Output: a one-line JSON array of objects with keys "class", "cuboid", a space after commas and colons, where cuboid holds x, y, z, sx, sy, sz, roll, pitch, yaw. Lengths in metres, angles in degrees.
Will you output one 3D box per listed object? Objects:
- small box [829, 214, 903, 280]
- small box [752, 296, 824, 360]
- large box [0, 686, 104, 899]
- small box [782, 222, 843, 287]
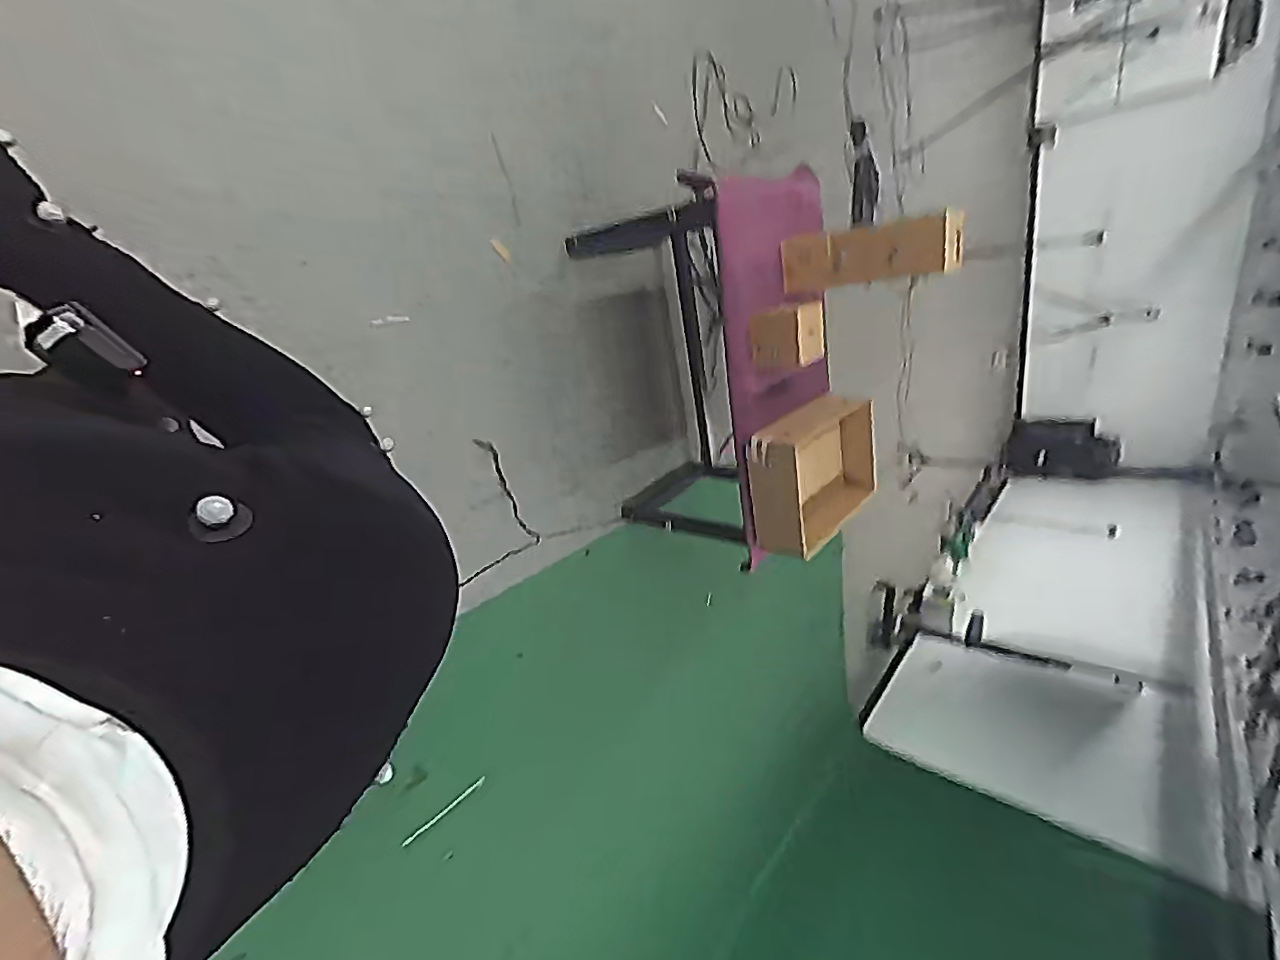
[{"class": "small box", "cuboid": [0.707, -0.727, 1.692, 0.179, 0.176, 0.168, -25, 114, -42]}, {"class": "small box", "cuboid": [0.463, -0.477, 1.708, 0.179, 0.176, 0.168, -30, 118, -43]}, {"class": "large box", "cuboid": [-1.292, 0.542, 0.936, 0.408, 0.320, 0.320, 50, 61, -41]}, {"class": "small box", "cuboid": [0.583, -0.749, 1.798, 0.179, 0.176, 0.168, -31, 118, -41]}]
